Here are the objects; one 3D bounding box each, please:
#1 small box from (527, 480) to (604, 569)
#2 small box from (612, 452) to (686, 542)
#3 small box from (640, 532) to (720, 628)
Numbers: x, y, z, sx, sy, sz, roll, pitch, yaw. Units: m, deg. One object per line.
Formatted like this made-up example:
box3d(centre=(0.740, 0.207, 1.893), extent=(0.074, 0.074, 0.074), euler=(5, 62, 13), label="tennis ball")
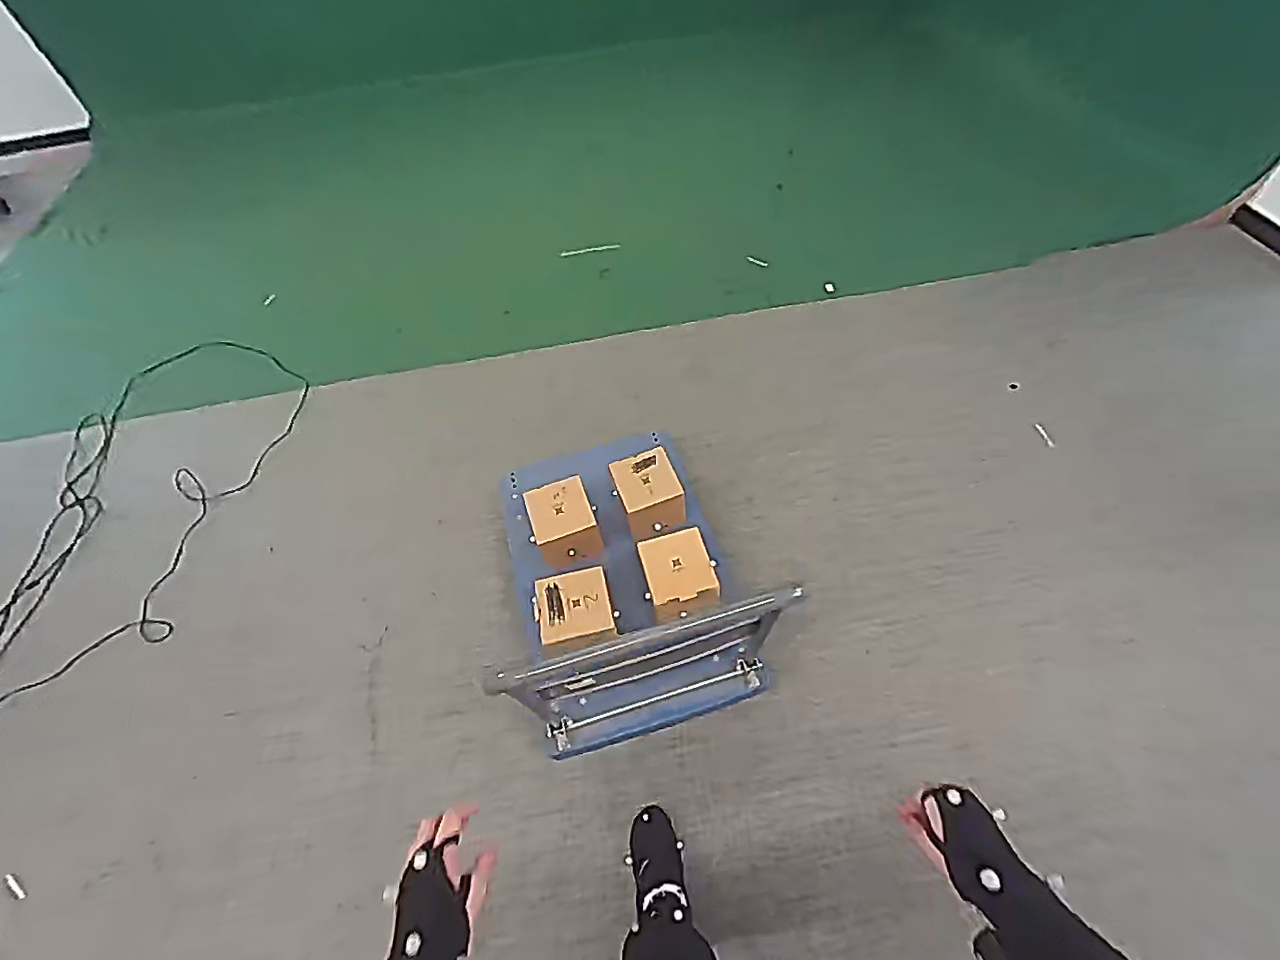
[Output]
box3d(centre=(-0.209, 0.135, 1.546), extent=(0.168, 0.176, 0.179), euler=(-18, 56, -8), label="small box")
box3d(centre=(0.027, 0.053, 1.579), extent=(0.168, 0.176, 0.179), euler=(-19, 58, -6), label="small box")
box3d(centre=(0.102, 0.266, 1.430), extent=(0.168, 0.176, 0.179), euler=(-15, 57, -5), label="small box")
